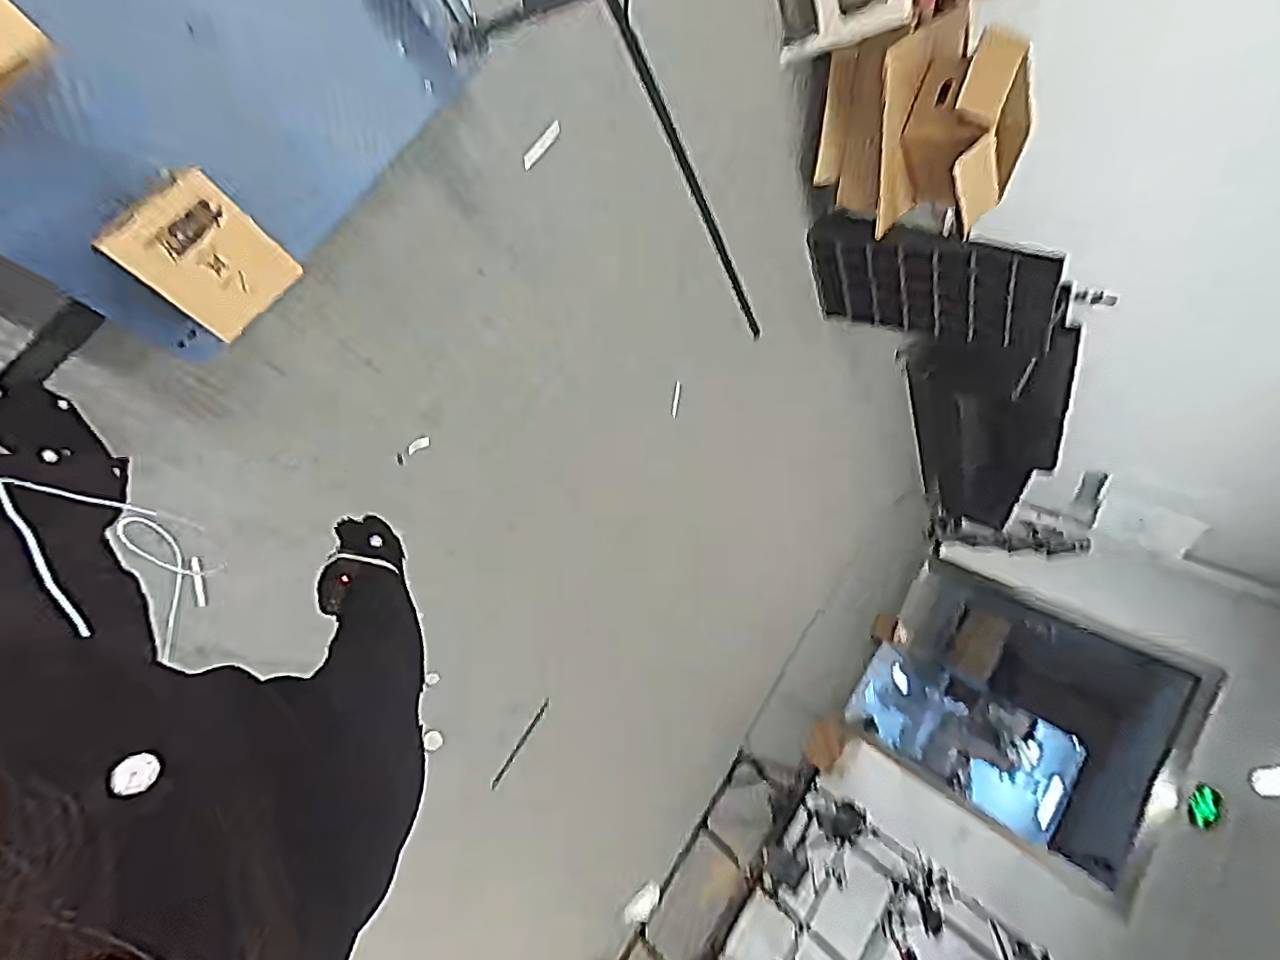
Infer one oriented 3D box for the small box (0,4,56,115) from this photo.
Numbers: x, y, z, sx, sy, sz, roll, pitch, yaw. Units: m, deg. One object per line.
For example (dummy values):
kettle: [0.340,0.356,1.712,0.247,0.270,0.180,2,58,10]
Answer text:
small box: [-0.821,-0.507,0.604,0.168,0.176,0.179,-53,138,-15]
